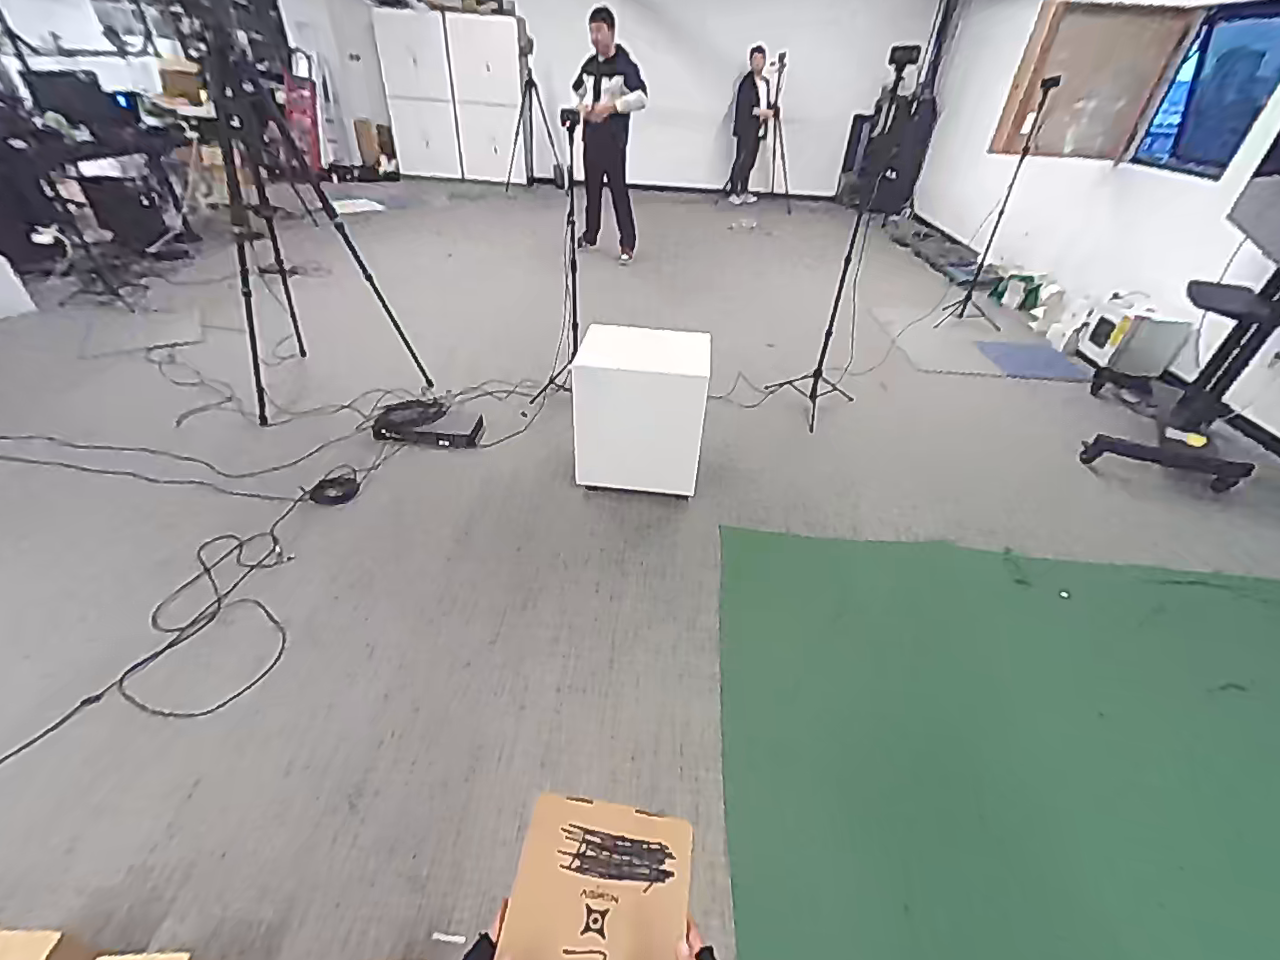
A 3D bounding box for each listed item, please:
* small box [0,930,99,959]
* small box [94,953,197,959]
[{"bbox_3d":[-1.152,0.942,0.971,0.168,0.176,0.179,3,37,-2],"label":"small box"},{"bbox_3d":[-0.899,0.972,0.956,0.168,0.176,0.179,1,39,-4],"label":"small box"}]
